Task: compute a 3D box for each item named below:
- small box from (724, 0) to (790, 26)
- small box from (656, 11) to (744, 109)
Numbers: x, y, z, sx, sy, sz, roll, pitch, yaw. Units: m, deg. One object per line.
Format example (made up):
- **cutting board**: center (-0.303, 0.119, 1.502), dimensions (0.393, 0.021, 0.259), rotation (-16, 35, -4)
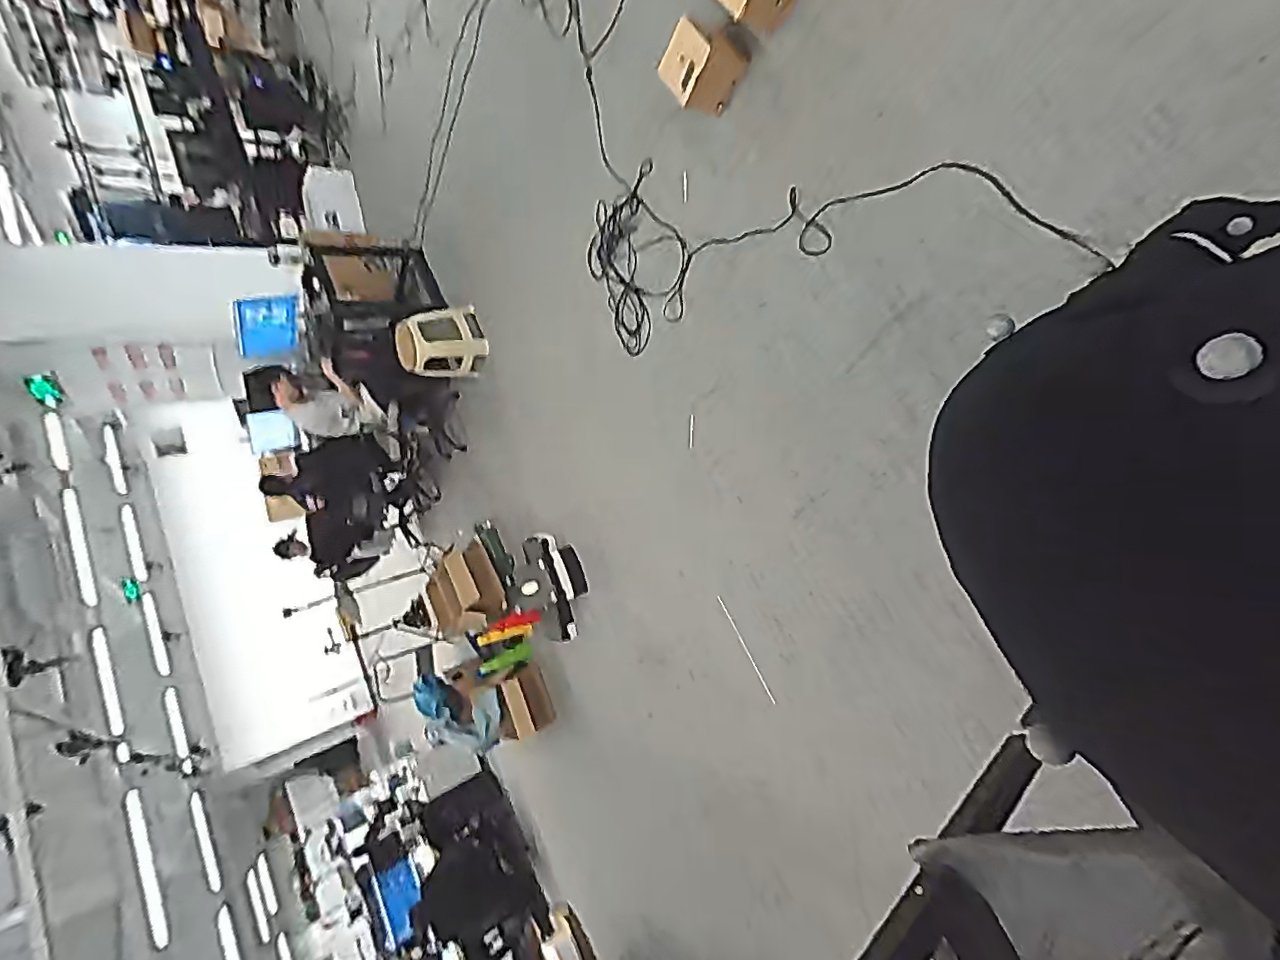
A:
- **small box**: center (0.313, -1.374, 1.457), dimensions (0.179, 0.176, 0.168), rotation (58, 141, 17)
- **small box**: center (0.186, -1.274, 1.655), dimensions (0.179, 0.176, 0.168), rotation (61, 141, 16)
